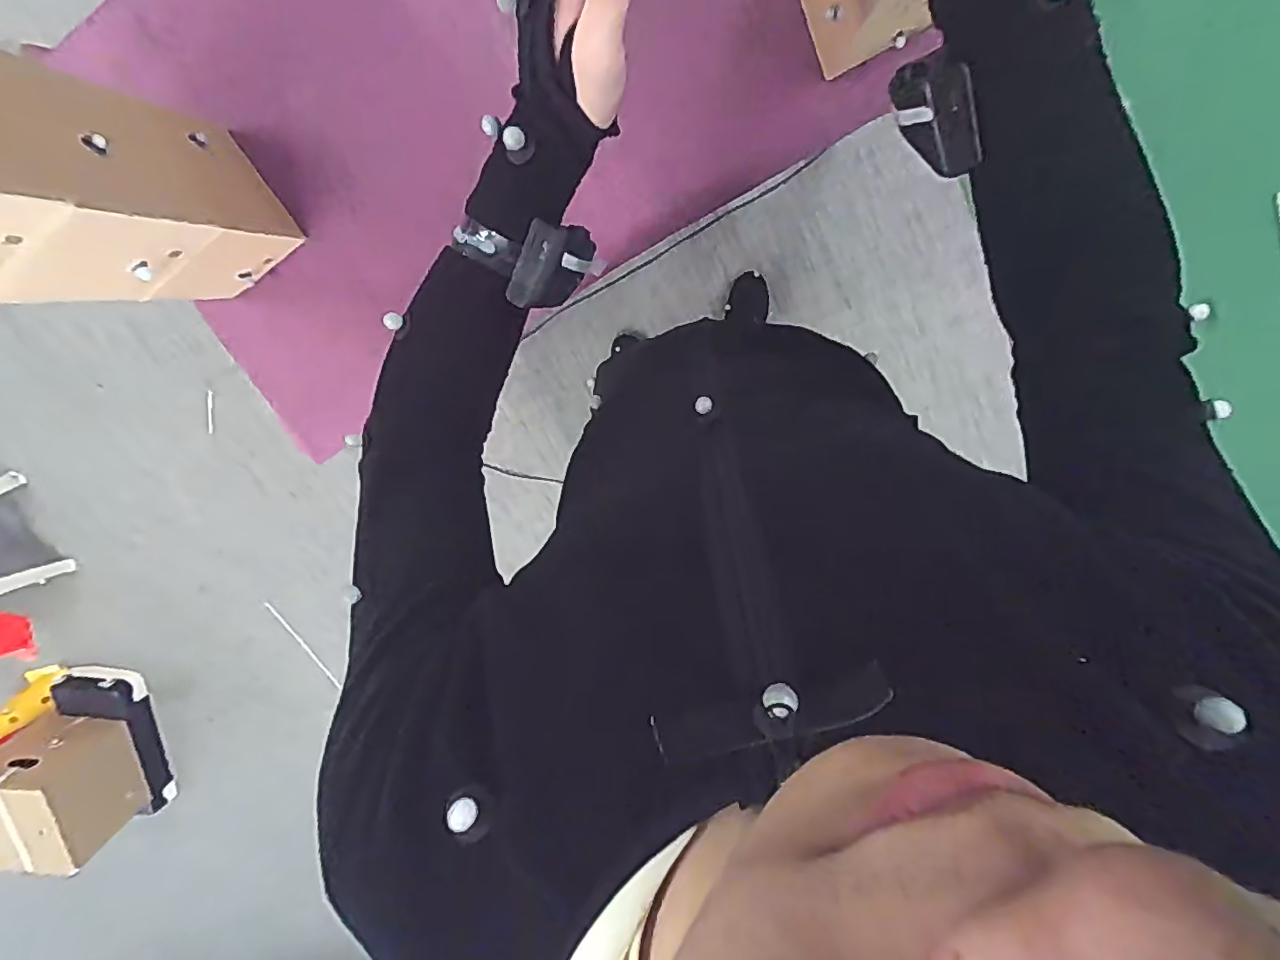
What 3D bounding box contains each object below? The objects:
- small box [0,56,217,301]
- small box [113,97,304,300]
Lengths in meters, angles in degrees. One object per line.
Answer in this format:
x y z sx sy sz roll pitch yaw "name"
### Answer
-0.634 -0.313 0.589 0.168 0.176 0.179 -29 105 14 "small box"
-0.622 -0.367 0.743 0.168 0.176 0.179 -29 106 14 "small box"
